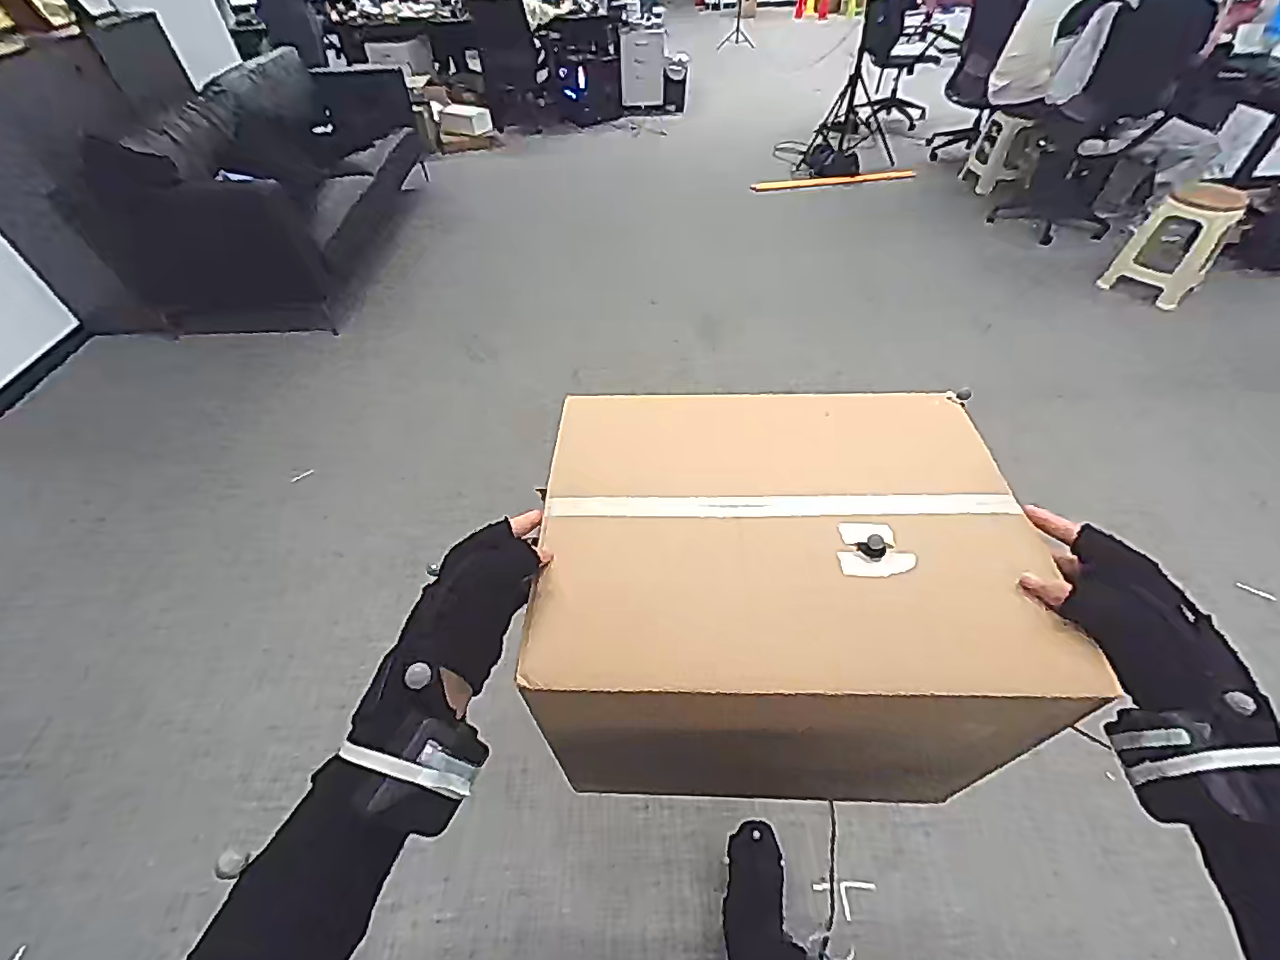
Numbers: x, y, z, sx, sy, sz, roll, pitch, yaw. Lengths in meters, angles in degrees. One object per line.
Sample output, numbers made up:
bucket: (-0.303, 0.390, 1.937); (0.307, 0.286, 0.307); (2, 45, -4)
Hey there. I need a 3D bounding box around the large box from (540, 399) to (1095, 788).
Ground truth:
large box: (0.127, 0.128, 0.591); (0.408, 0.320, 0.320); (0, 49, 2)
